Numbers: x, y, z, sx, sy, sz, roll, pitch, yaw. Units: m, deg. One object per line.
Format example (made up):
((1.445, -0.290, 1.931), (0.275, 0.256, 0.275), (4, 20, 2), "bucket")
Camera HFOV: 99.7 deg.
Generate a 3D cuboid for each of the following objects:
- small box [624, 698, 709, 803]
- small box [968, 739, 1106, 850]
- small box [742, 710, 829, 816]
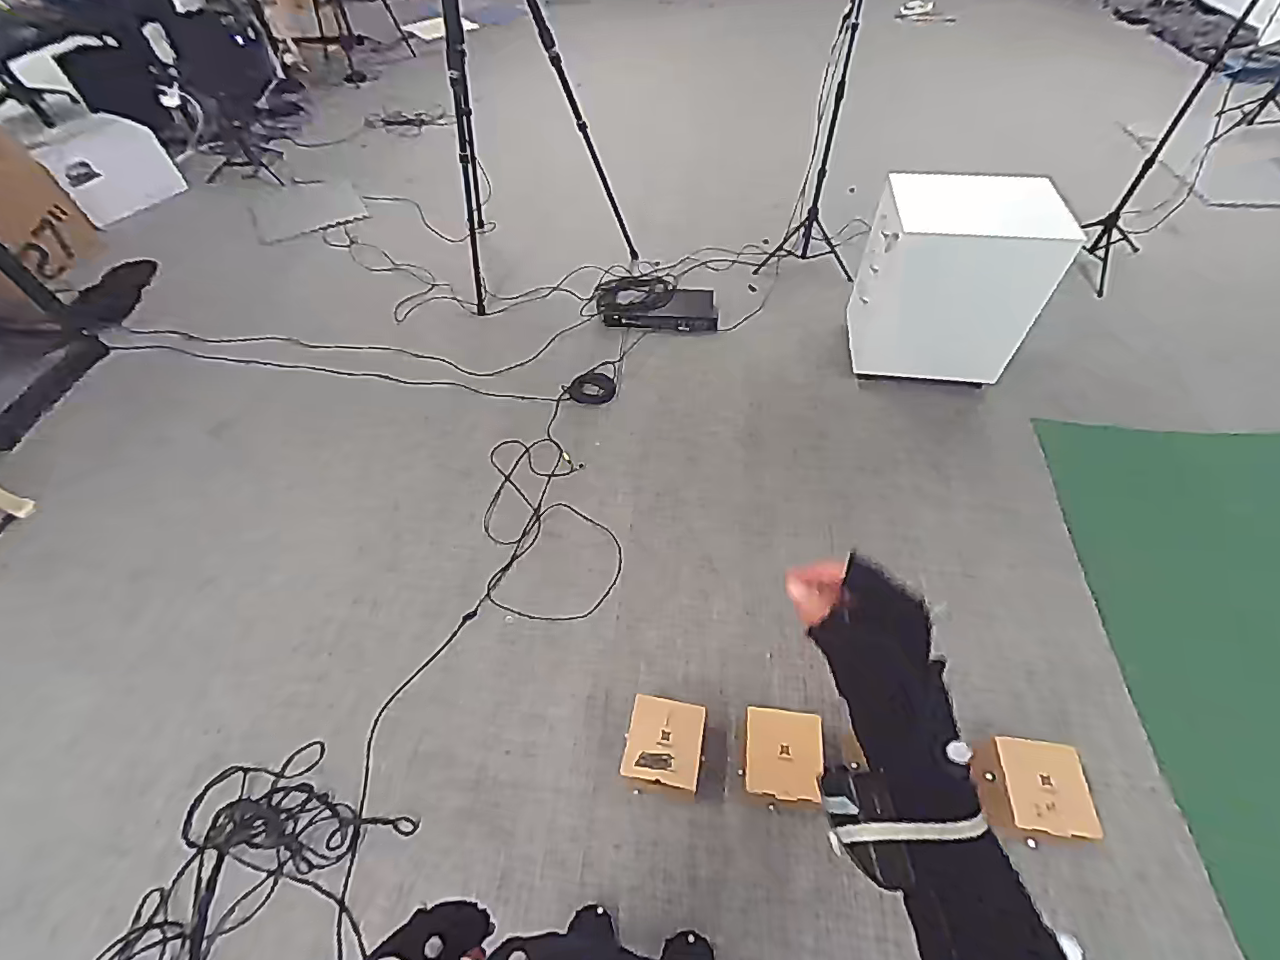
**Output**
((0.066, 0.637, 1.267), (0.168, 0.176, 0.179), (8, 53, 9), "small box")
((0.852, 0.690, 1.185), (0.168, 0.176, 0.179), (4, 53, 7), "small box")
((0.326, 0.652, 1.243), (0.168, 0.176, 0.179), (4, 53, 7), "small box")
